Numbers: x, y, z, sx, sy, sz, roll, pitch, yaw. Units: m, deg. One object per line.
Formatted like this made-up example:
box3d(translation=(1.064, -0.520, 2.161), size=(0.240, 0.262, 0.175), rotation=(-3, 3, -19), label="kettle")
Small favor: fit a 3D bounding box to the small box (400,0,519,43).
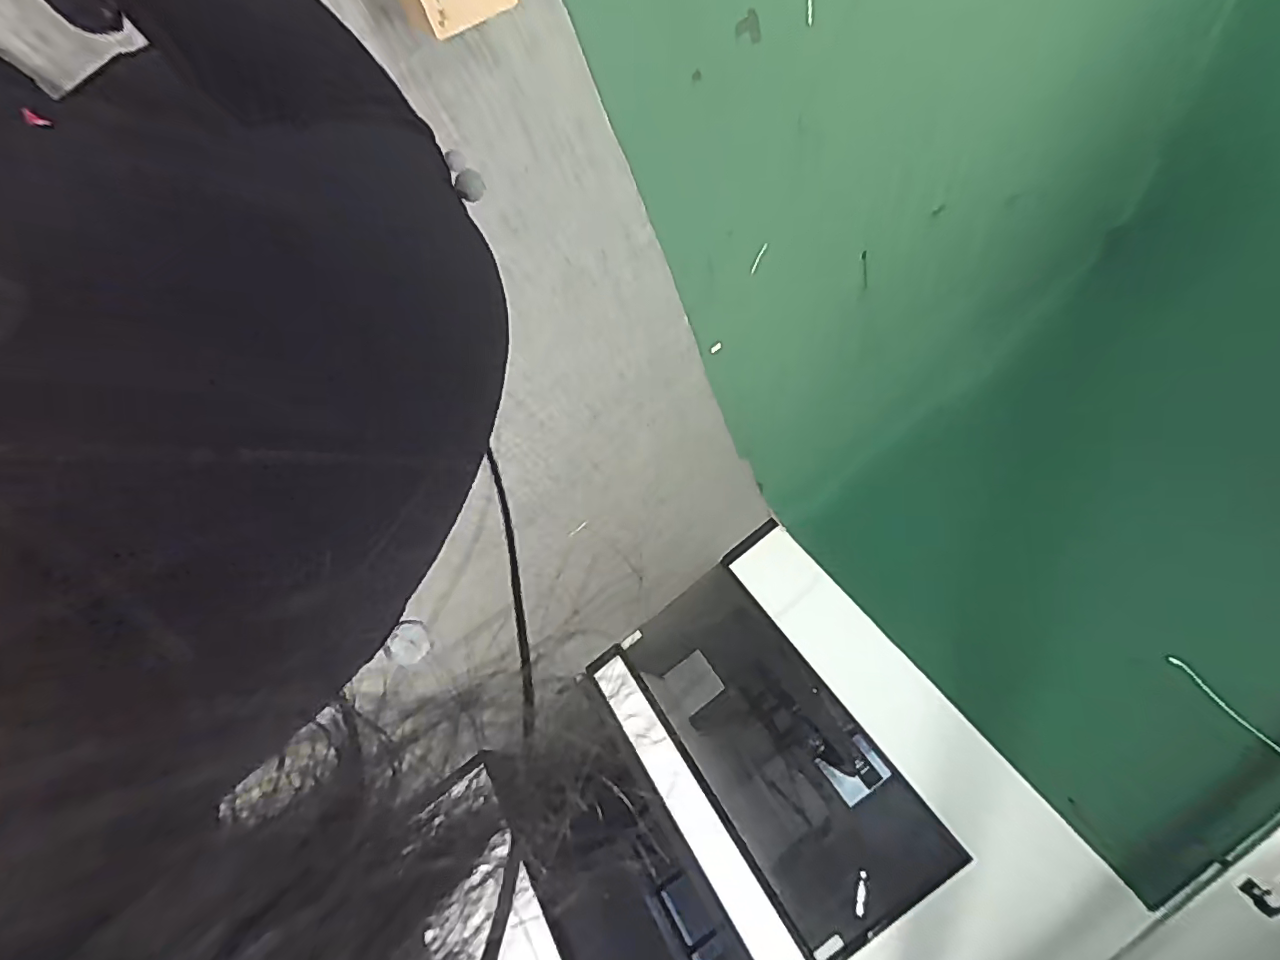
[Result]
box3d(translation=(-0.352, -0.937, 0.972), size=(0.179, 0.176, 0.168), rotation=(-32, 147, -9), label="small box")
